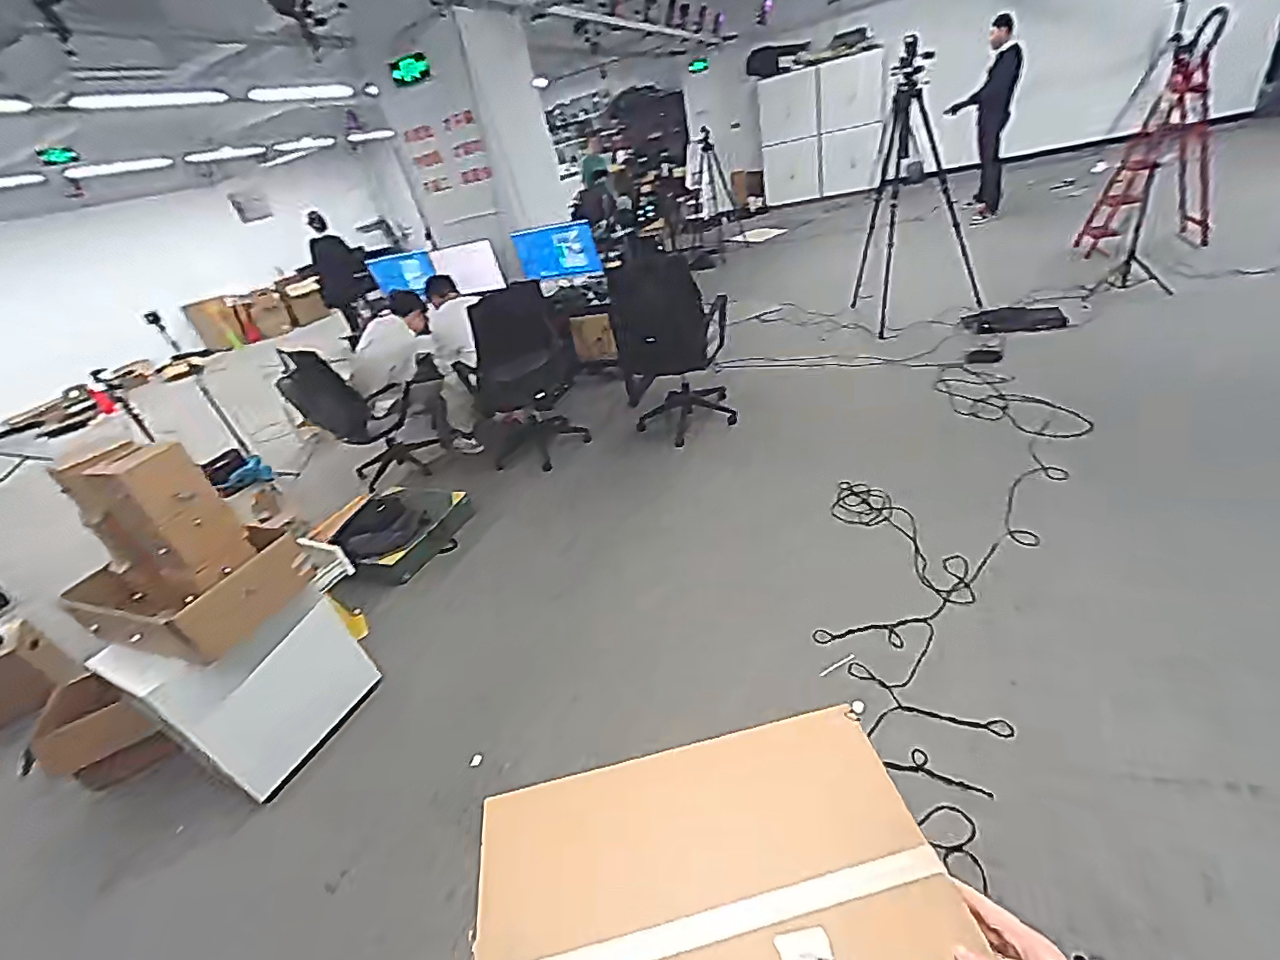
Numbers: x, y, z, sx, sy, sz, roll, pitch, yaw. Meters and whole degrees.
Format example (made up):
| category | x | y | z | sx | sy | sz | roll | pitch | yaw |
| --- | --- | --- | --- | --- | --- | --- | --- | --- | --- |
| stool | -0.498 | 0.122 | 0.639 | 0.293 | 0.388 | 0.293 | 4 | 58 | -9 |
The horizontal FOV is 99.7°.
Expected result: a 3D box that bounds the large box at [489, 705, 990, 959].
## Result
| category | x | y | z | sx | sy | sz | roll | pitch | yaw |
| --- | --- | --- | --- | --- | --- | --- | --- | --- | --- |
| large box | 0.084 | 0.497 | 0.546 | 0.408 | 0.320 | 0.320 | -12 | 34 | -5 |
